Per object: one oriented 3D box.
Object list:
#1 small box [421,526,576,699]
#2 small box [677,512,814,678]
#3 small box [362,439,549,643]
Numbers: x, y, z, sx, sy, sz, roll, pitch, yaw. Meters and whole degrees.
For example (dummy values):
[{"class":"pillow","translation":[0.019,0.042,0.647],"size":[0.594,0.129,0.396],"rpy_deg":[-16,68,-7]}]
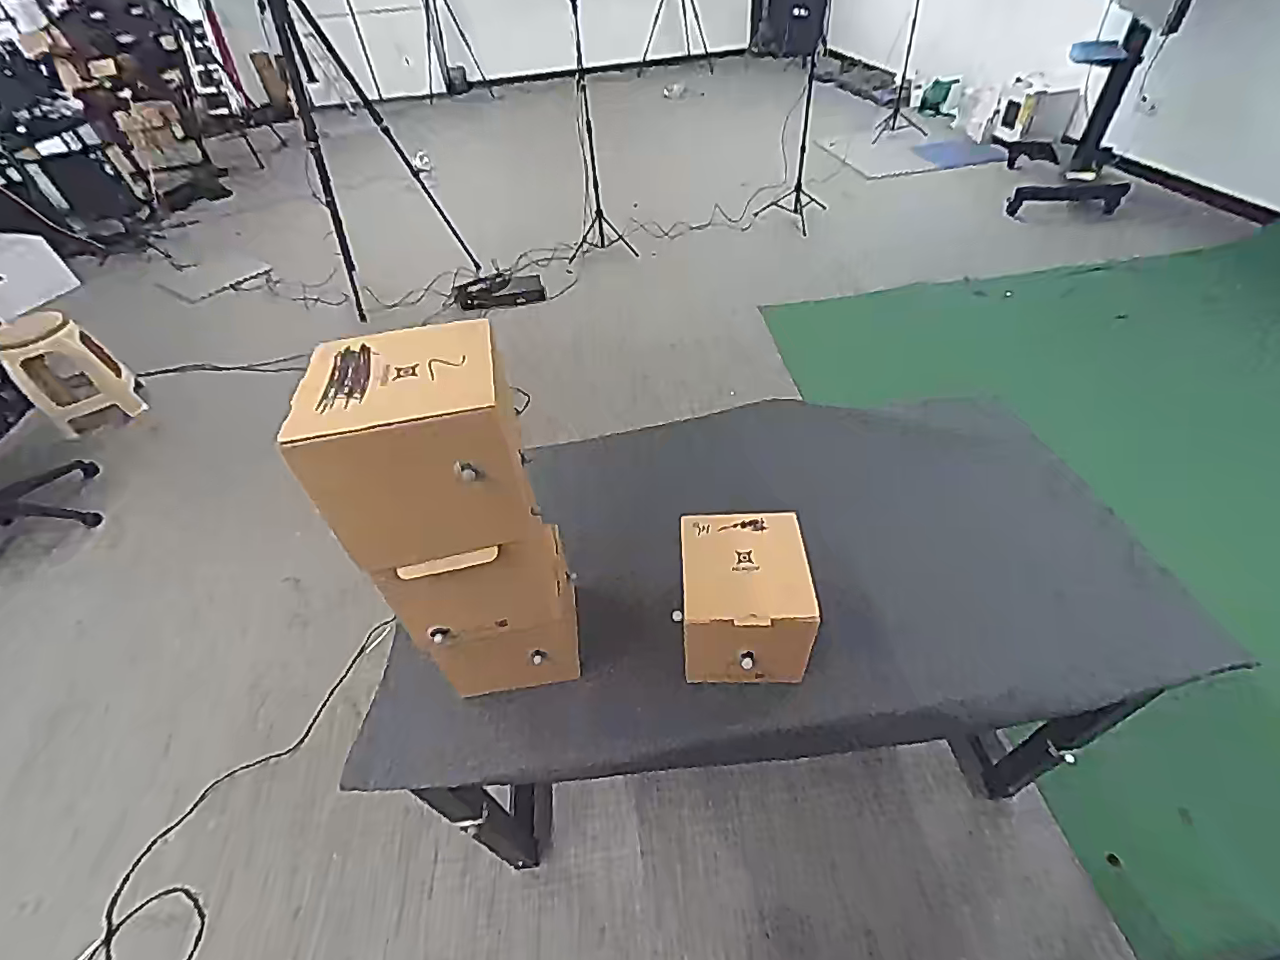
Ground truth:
[{"class":"small box","translation":[-0.191,0.194,0.785],"size":[0.179,0.176,0.168],"rpy_deg":[-10,44,-2]},{"class":"small box","translation":[0.141,0.168,0.767],"size":[0.168,0.176,0.179],"rpy_deg":[-3,45,5]},{"class":"small box","translation":[-0.214,0.080,0.668],"size":[0.168,0.176,0.179],"rpy_deg":[-12,43,-6]}]
